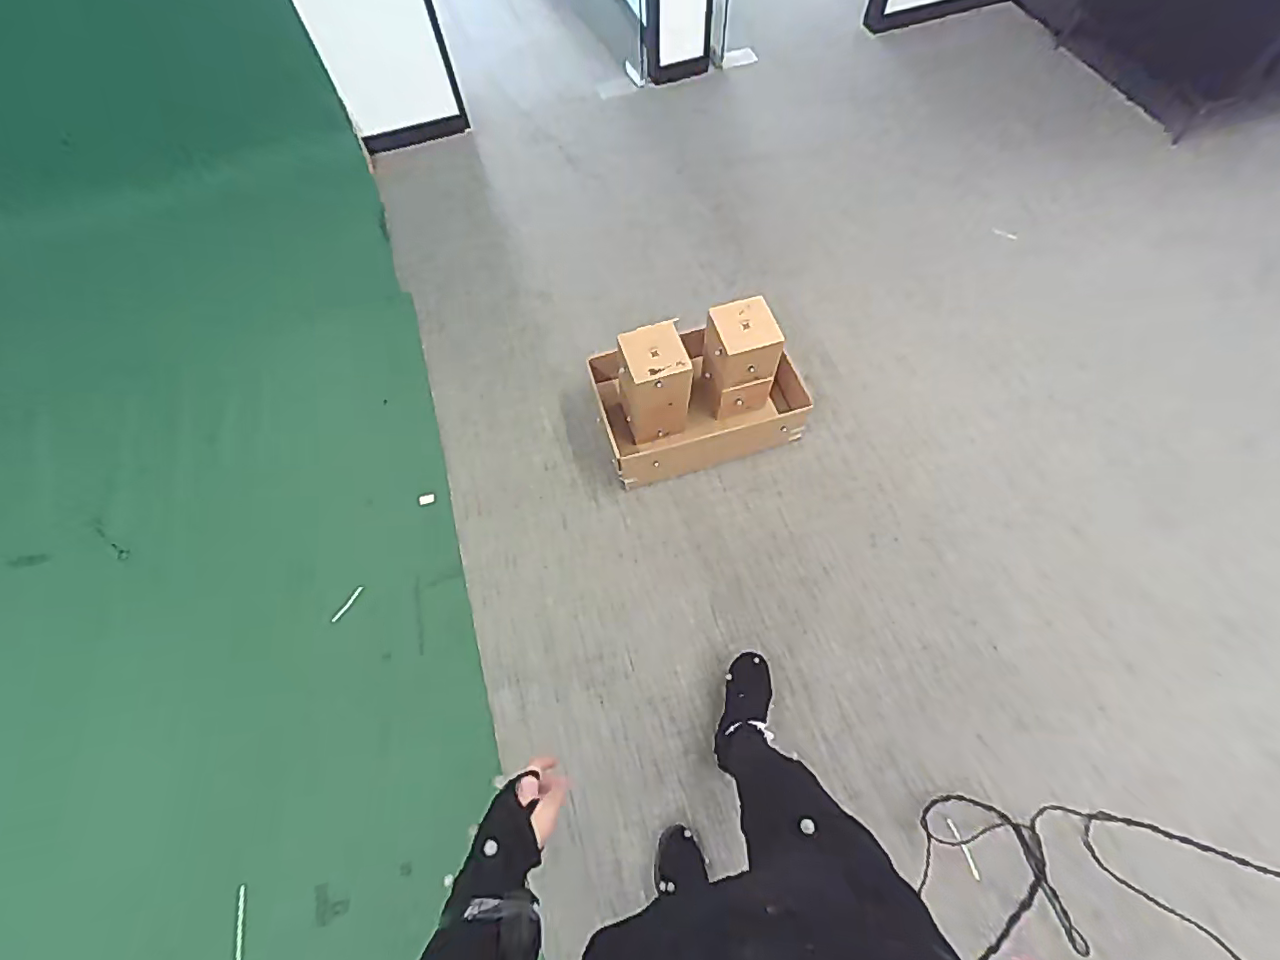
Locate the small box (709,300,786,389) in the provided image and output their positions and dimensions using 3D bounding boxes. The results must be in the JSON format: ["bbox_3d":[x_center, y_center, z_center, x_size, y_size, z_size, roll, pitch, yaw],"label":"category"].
[{"bbox_3d":[0.305,-0.385,1.571,0.168,0.176,0.179,-15,64,-4],"label":"small box"}]

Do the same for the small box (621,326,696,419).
[{"bbox_3d":[0.049,-0.302,1.539,0.168,0.176,0.179,-17,64,-6],"label":"small box"}]

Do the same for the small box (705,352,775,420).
[{"bbox_3d":[0.313,-0.310,1.718,0.168,0.176,0.179,-15,64,-4],"label":"small box"}]
